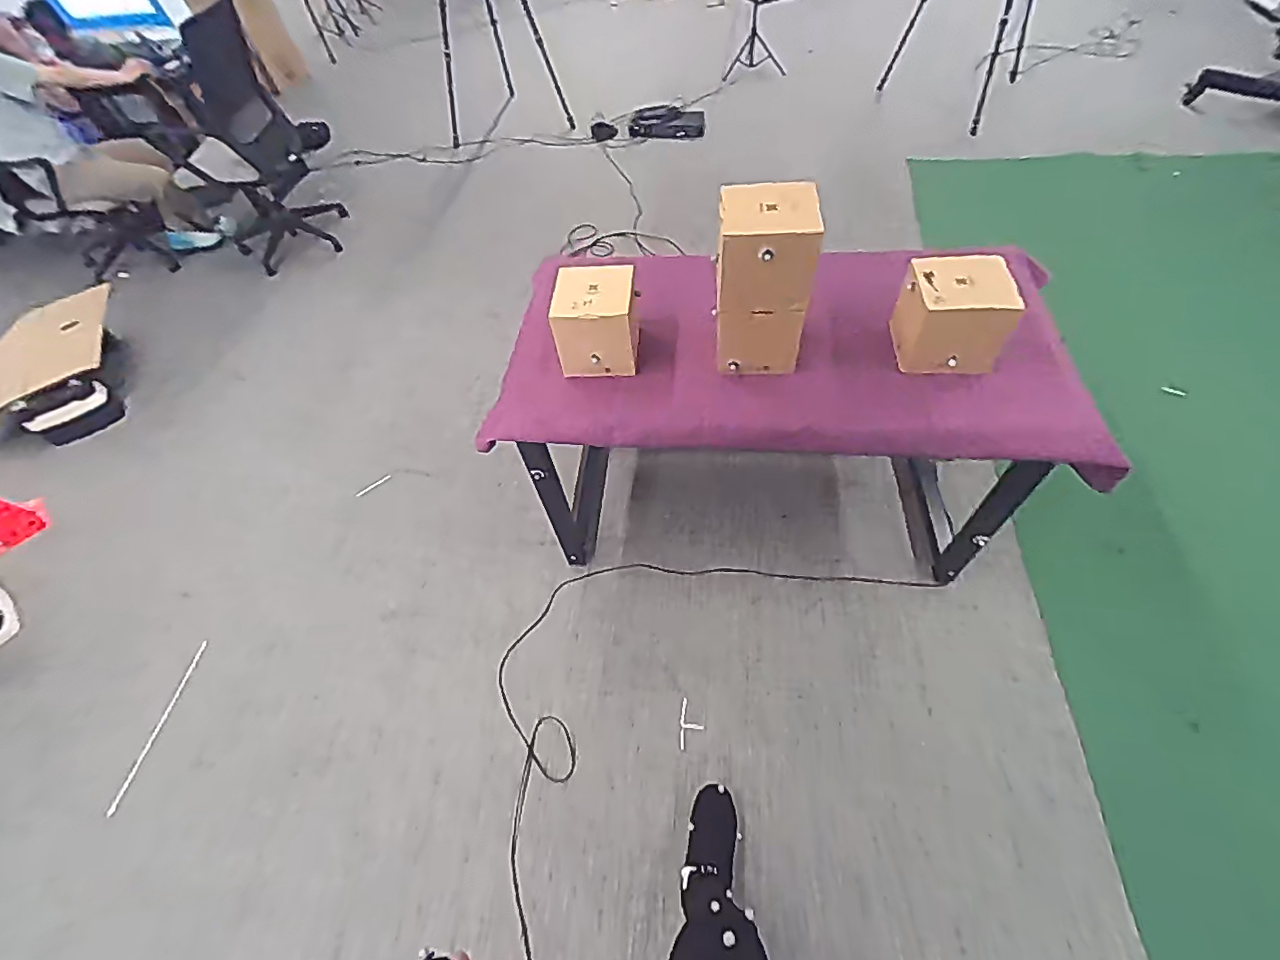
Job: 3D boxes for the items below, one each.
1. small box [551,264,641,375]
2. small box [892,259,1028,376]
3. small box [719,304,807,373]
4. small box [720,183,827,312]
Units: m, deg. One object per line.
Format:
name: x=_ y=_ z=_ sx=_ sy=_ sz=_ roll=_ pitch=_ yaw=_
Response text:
small box: x=-0.088 y=-0.355 z=1.198 sx=0.168 sy=0.176 sz=0.179 roll=1 pitch=55 yaw=6
small box: x=0.644 y=-0.330 z=1.114 sx=0.179 sy=0.176 sz=0.168 roll=3 pitch=55 yaw=7
small box: x=0.257 y=-0.347 z=1.162 sx=0.168 sy=0.176 sz=0.179 roll=2 pitch=54 yaw=6
small box: x=0.244 y=-0.437 z=1.027 sx=0.179 sy=0.176 sz=0.168 roll=2 pitch=56 yaw=6
